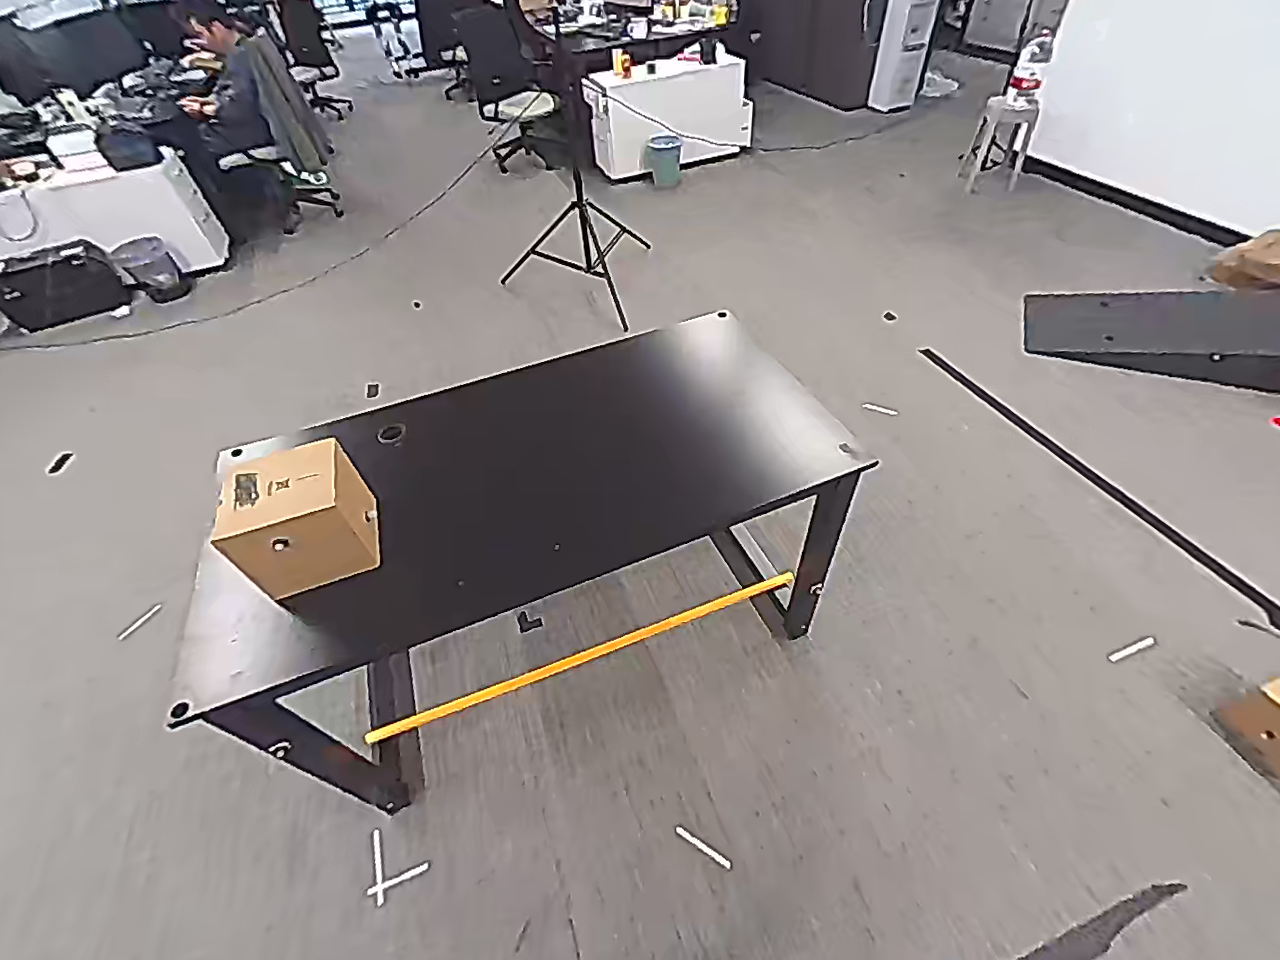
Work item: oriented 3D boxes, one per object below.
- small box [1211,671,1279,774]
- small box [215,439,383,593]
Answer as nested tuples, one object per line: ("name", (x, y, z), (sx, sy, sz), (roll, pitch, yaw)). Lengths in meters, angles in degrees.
("small box", (1.512, 0.558, 1.260), (0.179, 0.176, 0.168), (-17, 49, -9))
("small box", (-0.557, 0.063, 0.908), (0.179, 0.176, 0.168), (-18, 49, -12))
